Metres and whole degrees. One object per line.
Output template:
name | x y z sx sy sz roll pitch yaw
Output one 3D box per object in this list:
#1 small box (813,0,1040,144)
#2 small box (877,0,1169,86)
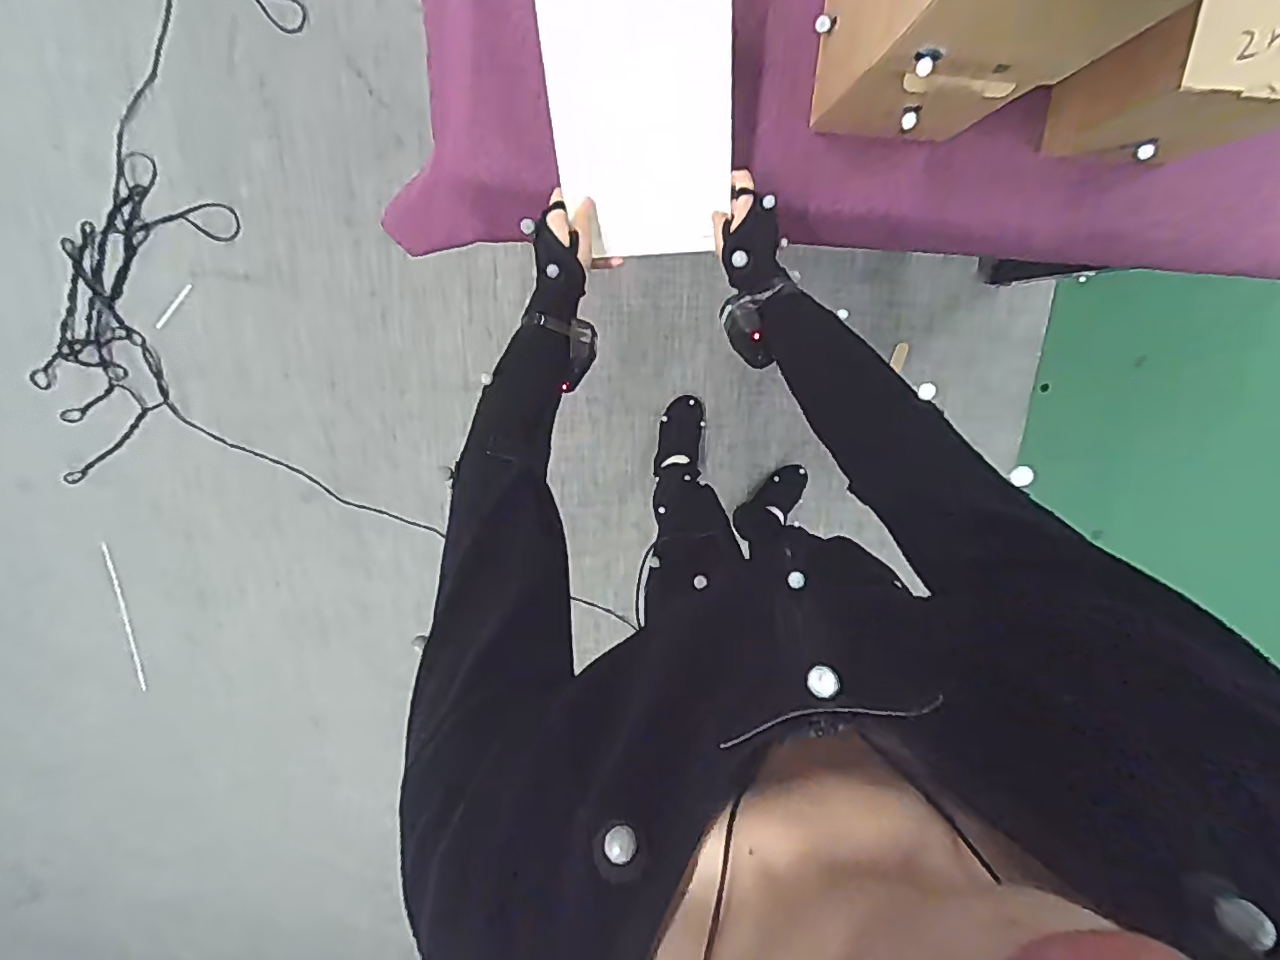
small box | 0.285 -0.460 0.538 0.168 0.176 0.179 3 105 -3
small box | 0.290 -0.414 0.380 0.168 0.176 0.179 3 103 -2
